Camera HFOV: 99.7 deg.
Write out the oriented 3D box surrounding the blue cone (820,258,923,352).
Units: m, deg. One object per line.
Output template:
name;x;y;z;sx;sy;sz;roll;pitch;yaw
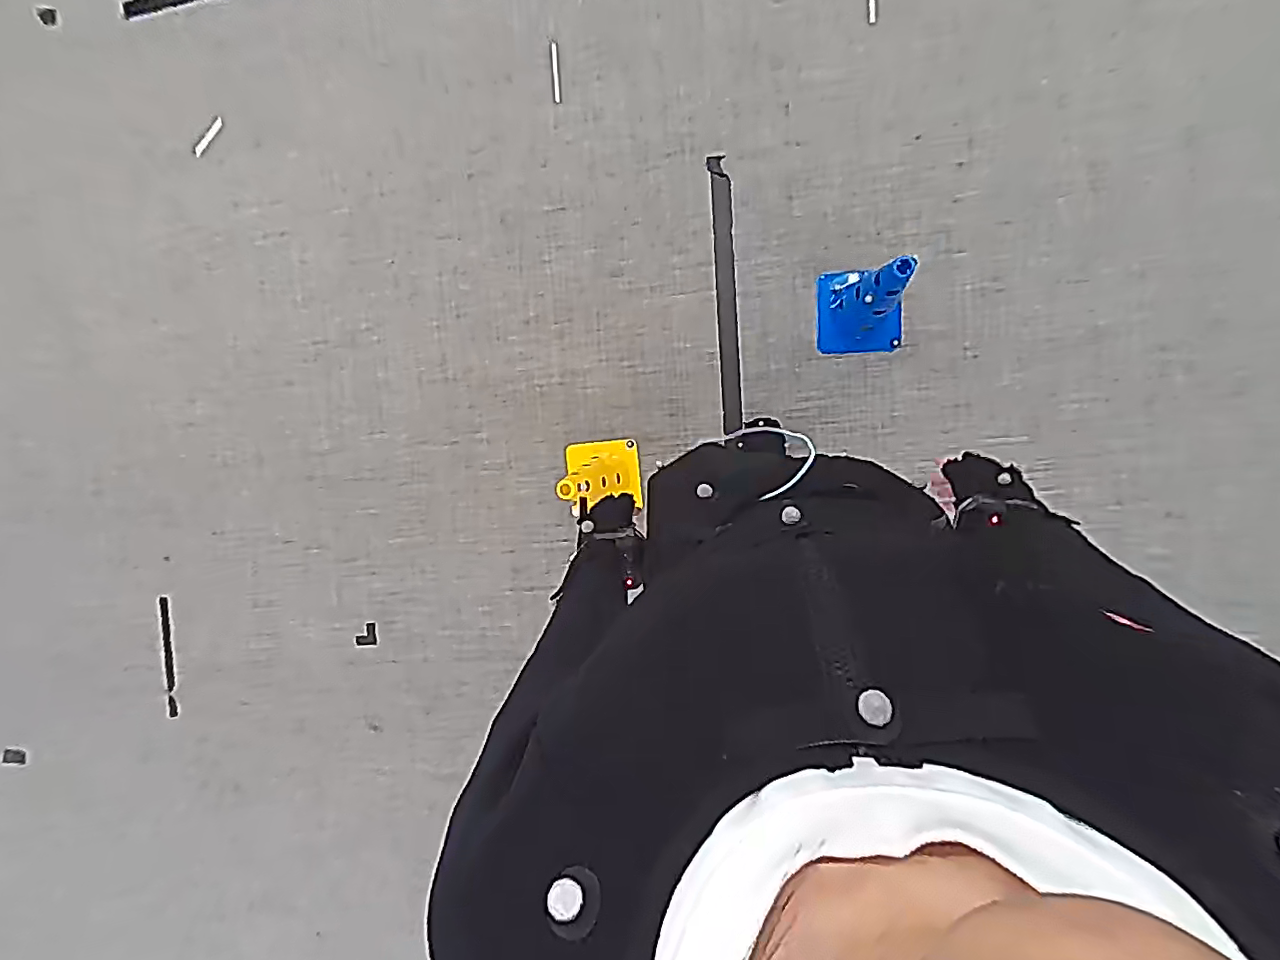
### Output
blue cone;0.524;-0.407;1.188;0.192;0.380;0.193;1;94;8
